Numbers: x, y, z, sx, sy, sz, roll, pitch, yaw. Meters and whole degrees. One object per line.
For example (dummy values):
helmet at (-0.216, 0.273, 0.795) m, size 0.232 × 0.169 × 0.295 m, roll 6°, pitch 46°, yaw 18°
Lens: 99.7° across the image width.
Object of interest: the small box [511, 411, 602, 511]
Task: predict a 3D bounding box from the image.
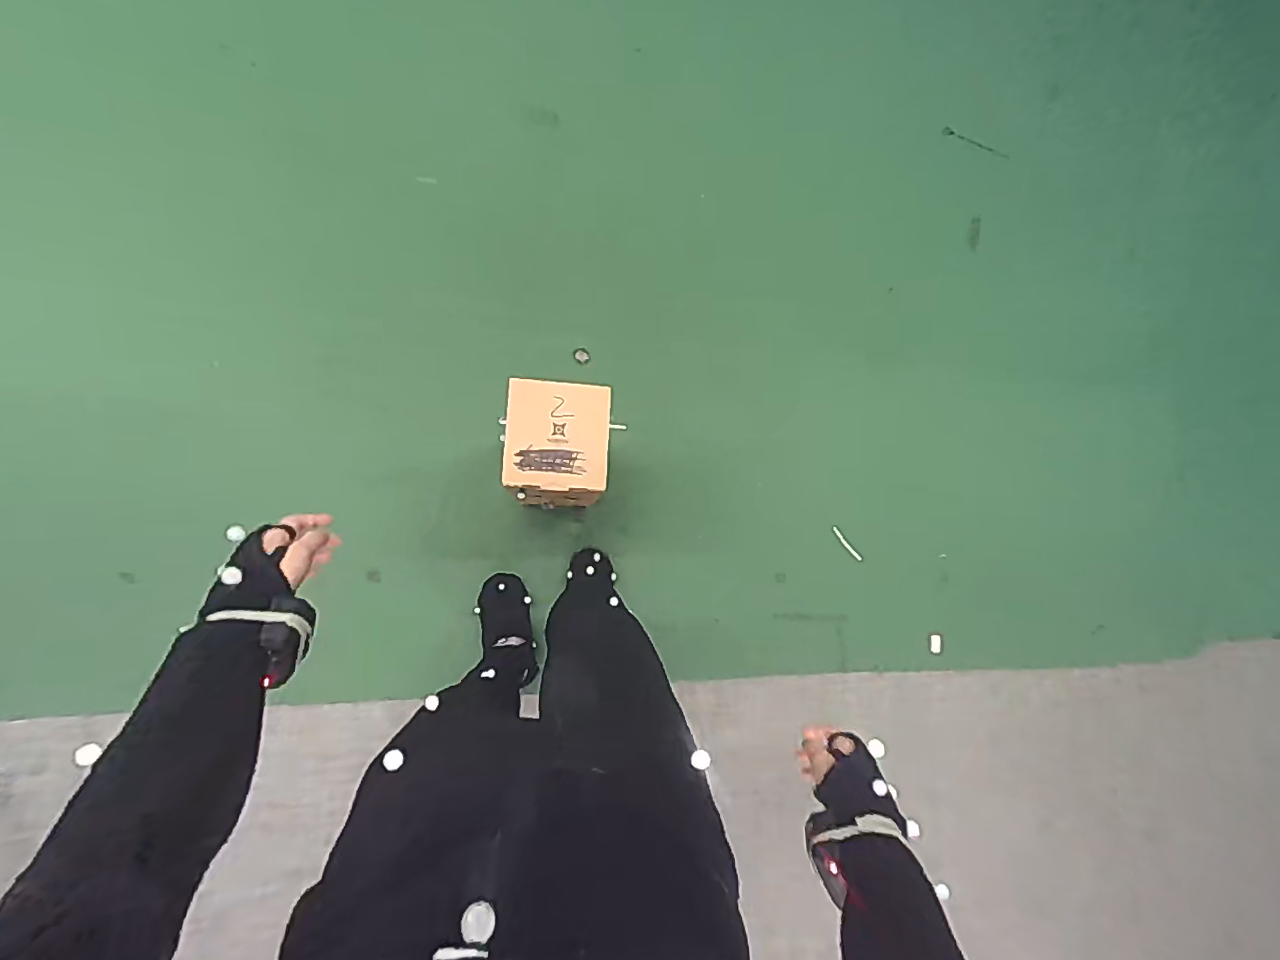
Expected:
small box at (-0.171, -0.033, 1.109) m, size 0.168 × 0.176 × 0.179 m, roll 3°, pitch 84°, yaw -8°
